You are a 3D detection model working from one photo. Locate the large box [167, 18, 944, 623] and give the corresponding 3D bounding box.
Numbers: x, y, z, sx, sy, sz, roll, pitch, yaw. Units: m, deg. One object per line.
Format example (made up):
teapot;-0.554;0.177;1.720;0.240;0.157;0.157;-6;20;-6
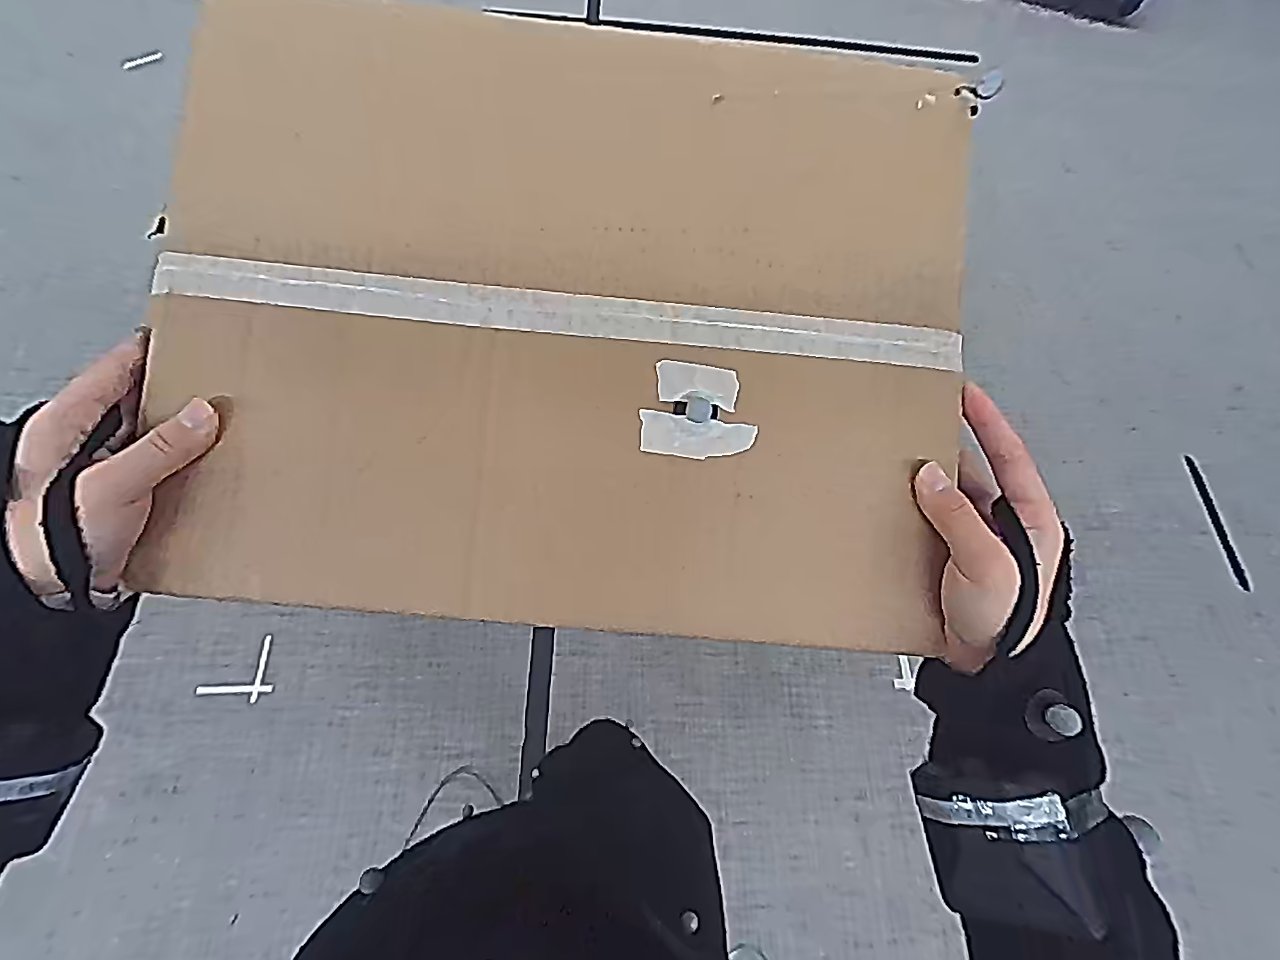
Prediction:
large box;-0.041;-0.078;0.442;0.408;0.320;0.320;5;86;-3
